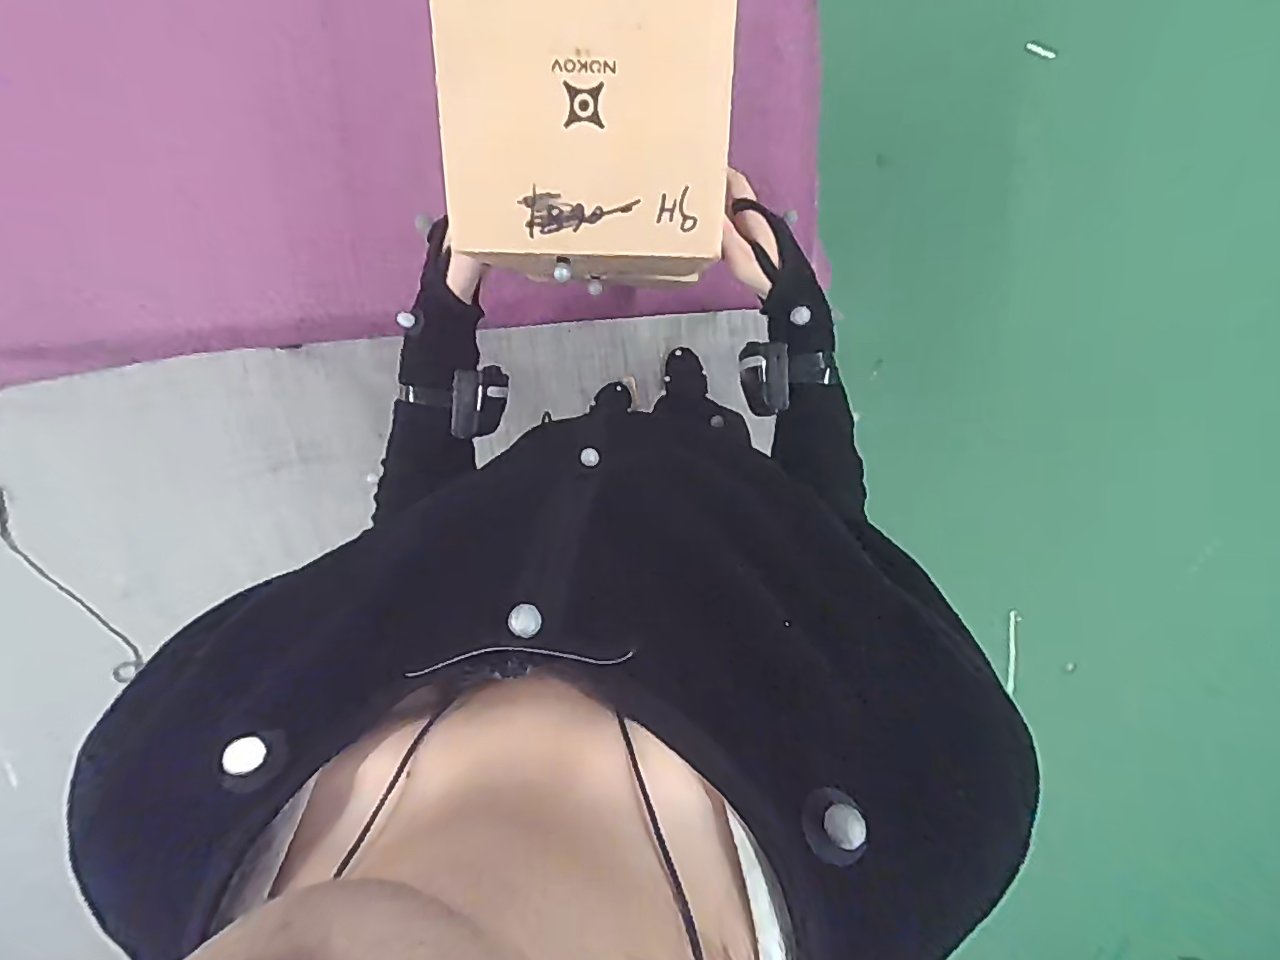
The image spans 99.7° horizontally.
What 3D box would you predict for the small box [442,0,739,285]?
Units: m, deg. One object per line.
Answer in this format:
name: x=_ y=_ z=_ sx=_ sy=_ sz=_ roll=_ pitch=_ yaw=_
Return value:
small box: x=-0.030 y=-0.241 z=0.386 sx=0.168 sy=0.176 sz=0.179 roll=1 pitch=106 yaw=0
